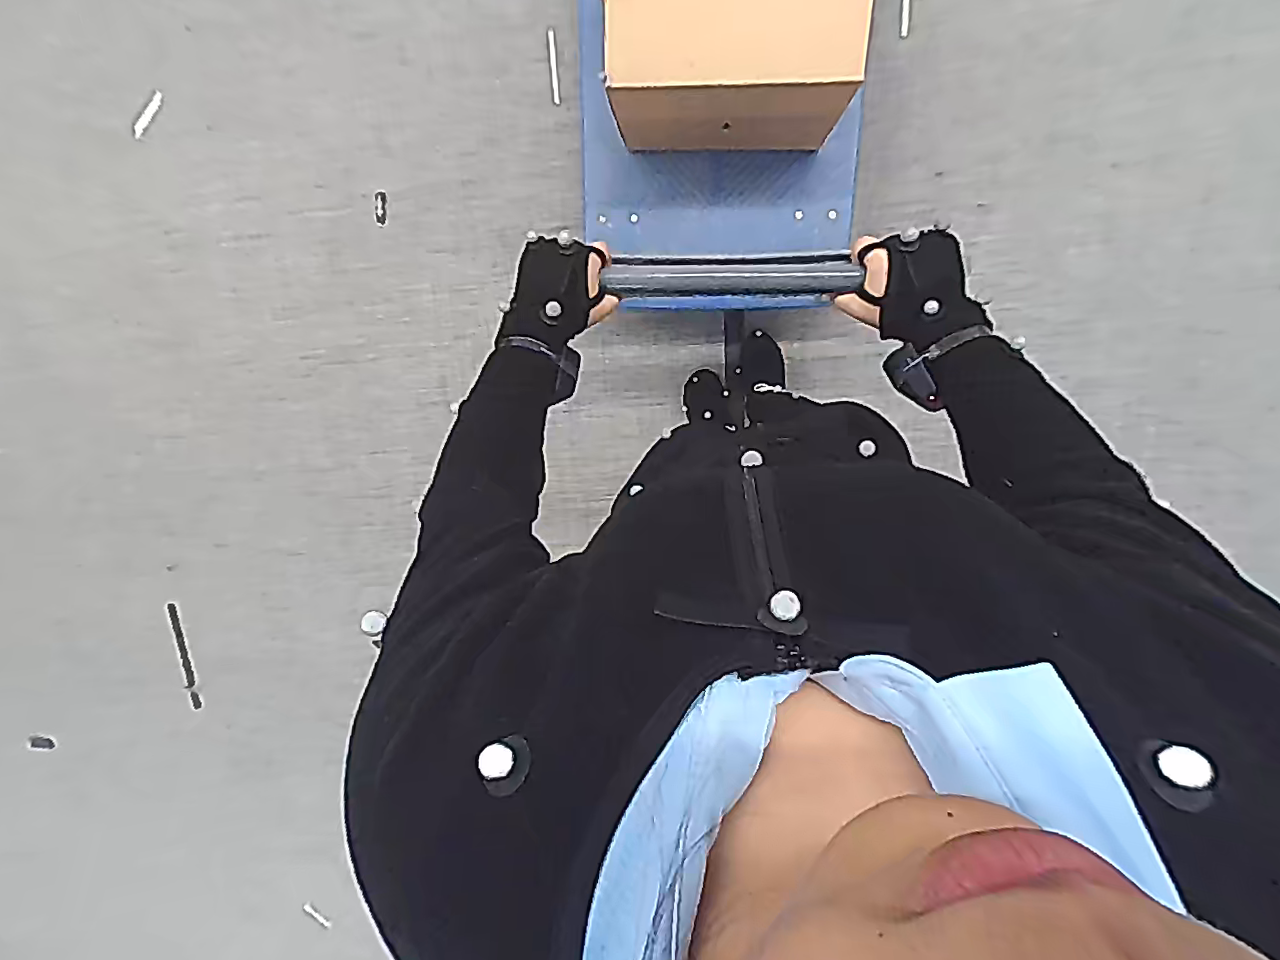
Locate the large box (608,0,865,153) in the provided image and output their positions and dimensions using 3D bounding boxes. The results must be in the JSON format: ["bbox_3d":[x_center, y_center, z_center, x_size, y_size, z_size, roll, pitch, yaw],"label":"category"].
[{"bbox_3d":[0.164,-0.813,0.975,0.408,0.320,0.320,2,104,6],"label":"large box"}]
